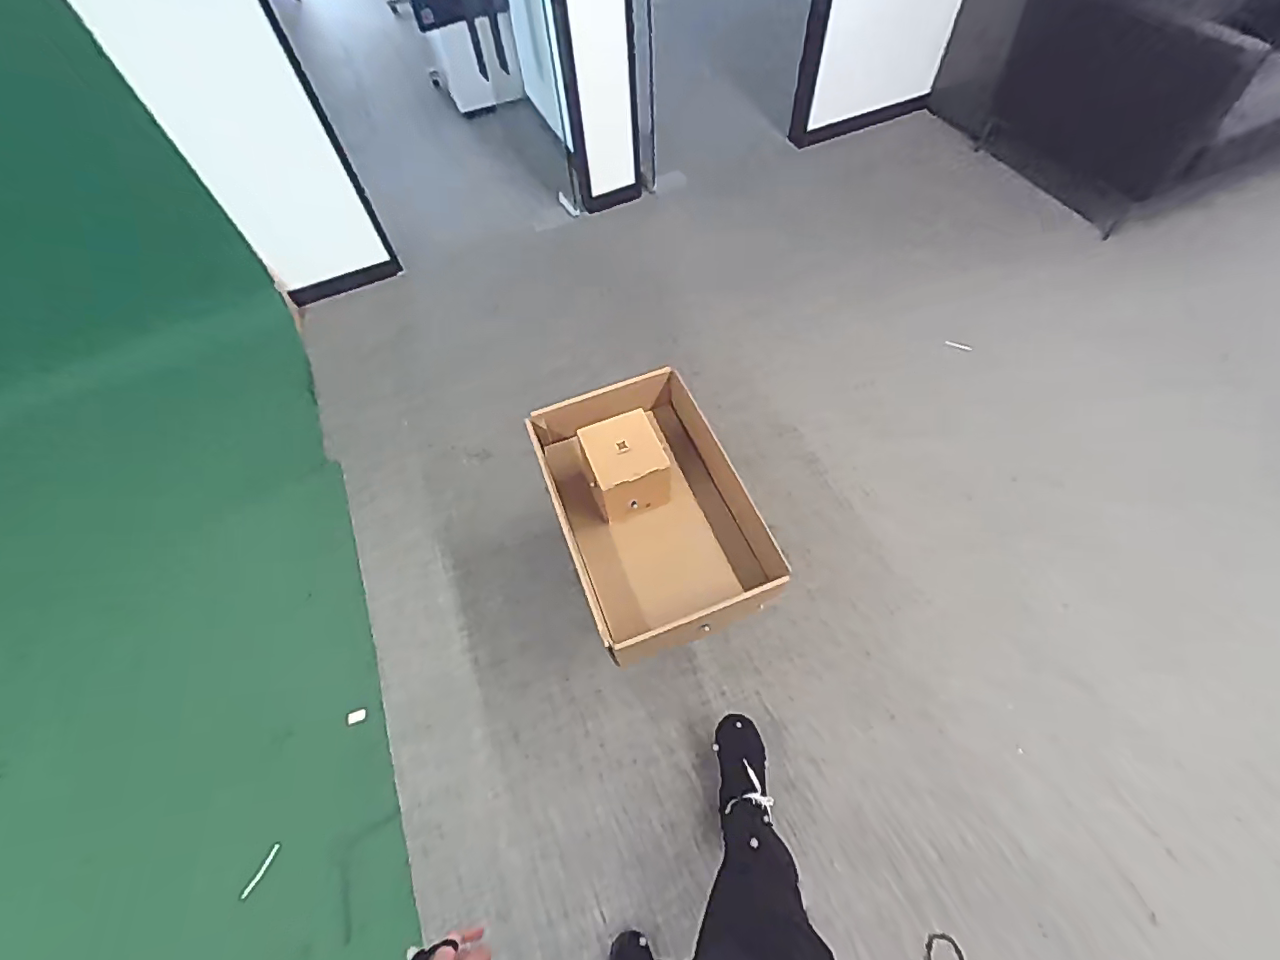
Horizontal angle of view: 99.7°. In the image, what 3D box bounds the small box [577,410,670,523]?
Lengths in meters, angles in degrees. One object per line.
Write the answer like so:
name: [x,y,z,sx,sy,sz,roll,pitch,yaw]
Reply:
small box: [-0.038,-0.028,1.275,0.168,0.176,0.179,-20,61,-9]
